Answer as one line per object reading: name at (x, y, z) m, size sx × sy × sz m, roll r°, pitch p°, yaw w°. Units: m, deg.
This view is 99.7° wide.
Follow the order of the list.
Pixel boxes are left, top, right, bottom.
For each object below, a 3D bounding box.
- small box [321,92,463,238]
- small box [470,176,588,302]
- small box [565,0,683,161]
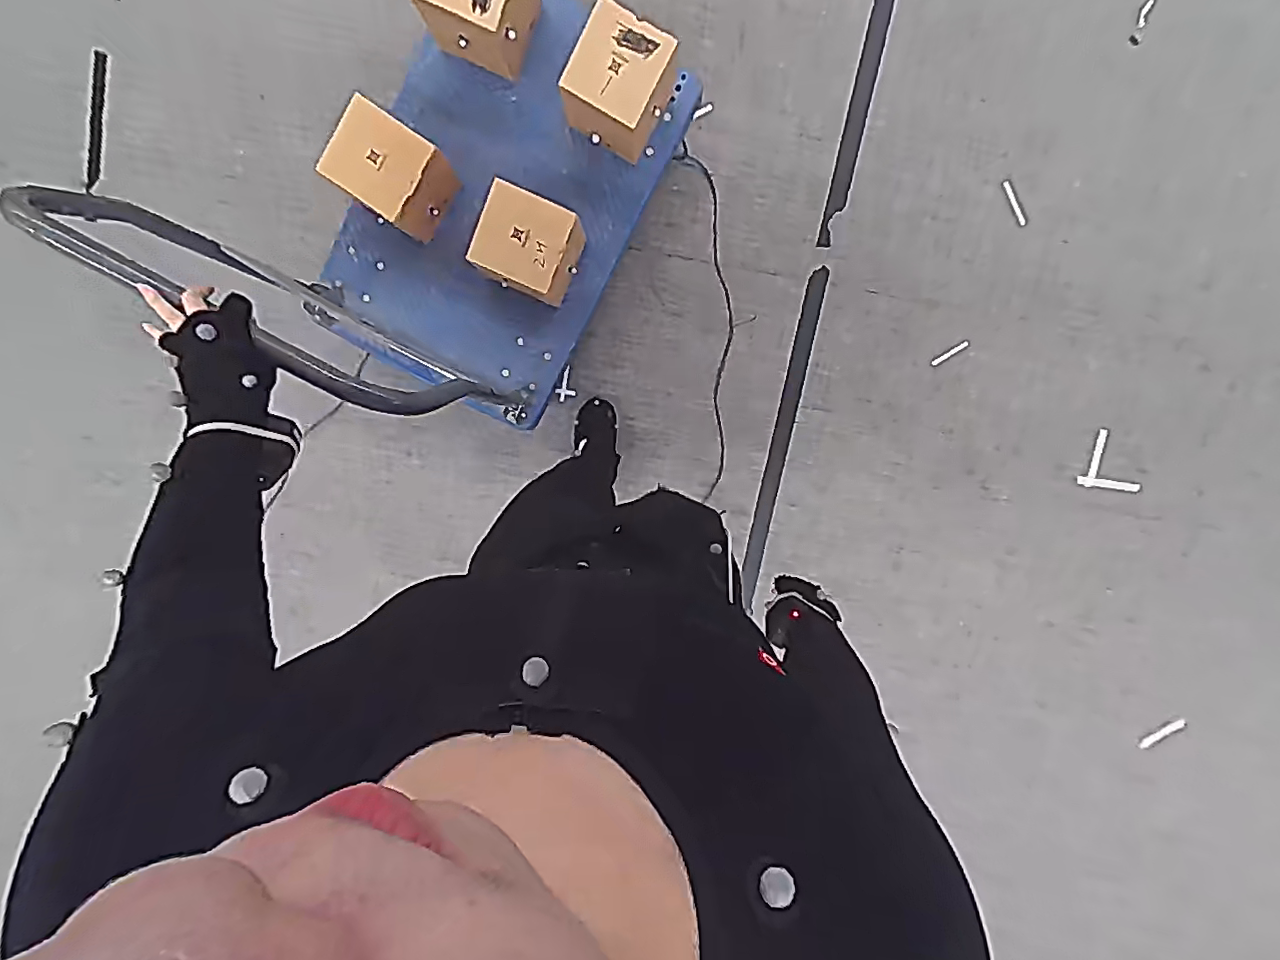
small box at (-0.497, -0.629, 1.109) m, size 0.179 × 0.176 × 0.168 m, roll 33°, pitch 97°, yaw -7°
small box at (-0.223, -0.490, 1.130) m, size 0.179 × 0.176 × 0.168 m, roll 24°, pitch 98°, yaw -4°
small box at (-0.032, -0.791, 1.084) m, size 0.168 × 0.176 × 0.179 m, roll 29°, pitch 99°, yaw -4°
